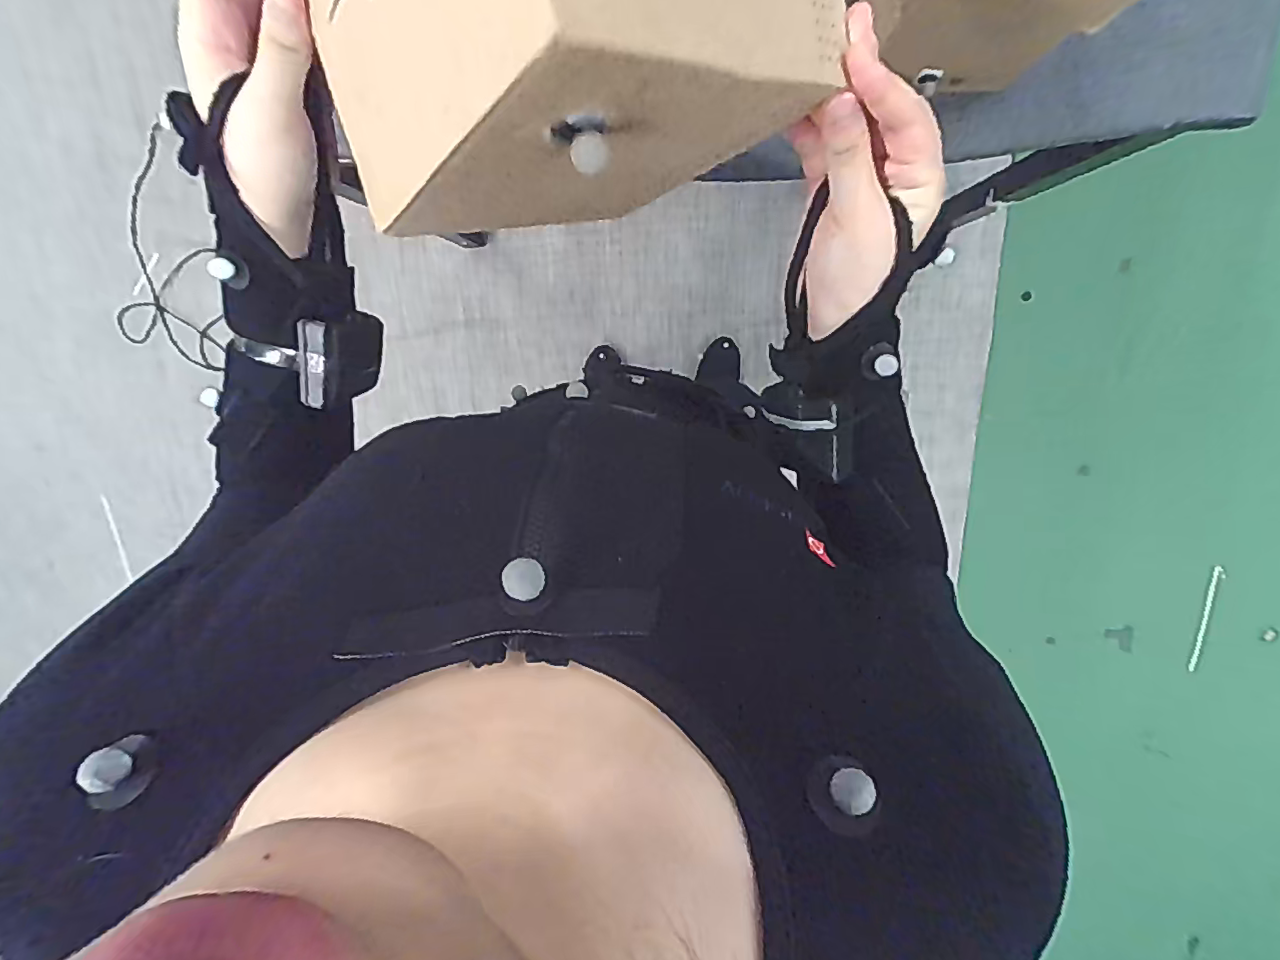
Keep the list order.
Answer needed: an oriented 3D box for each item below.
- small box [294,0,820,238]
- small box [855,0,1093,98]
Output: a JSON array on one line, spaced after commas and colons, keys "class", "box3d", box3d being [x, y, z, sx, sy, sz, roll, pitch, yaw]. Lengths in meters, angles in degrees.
[{"class": "small box", "box3d": [-0.039, -0.224, 0.239, 0.179, 0.176, 0.168, 6, 116, 50]}, {"class": "small box", "box3d": [0.316, -0.497, 0.509, 0.168, 0.176, 0.179, 2, 104, 5]}]
